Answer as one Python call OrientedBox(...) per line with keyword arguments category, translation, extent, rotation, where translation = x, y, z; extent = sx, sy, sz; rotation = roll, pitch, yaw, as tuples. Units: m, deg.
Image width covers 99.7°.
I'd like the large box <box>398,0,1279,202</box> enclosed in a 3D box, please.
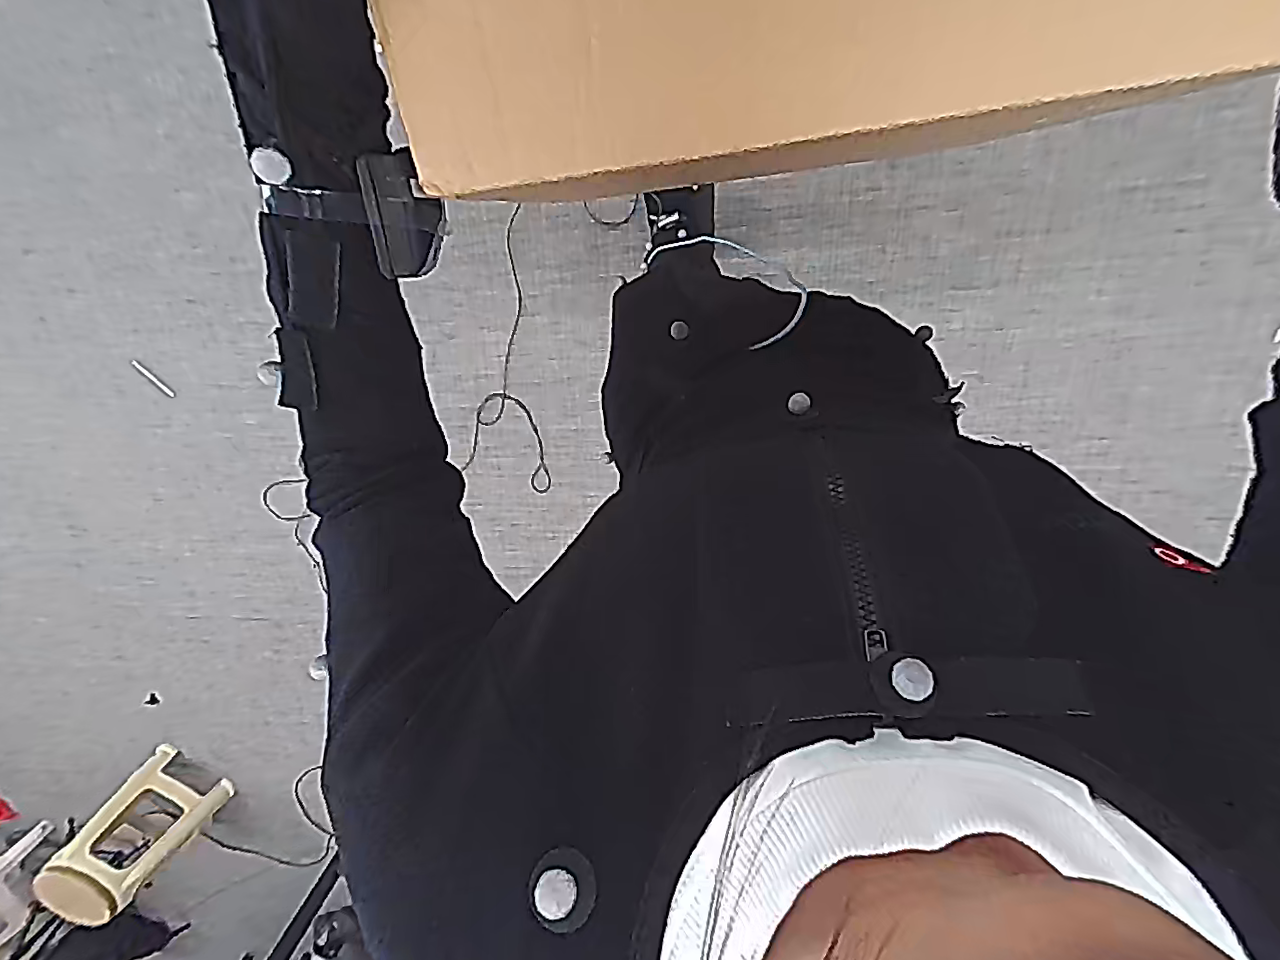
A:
OrientedBox(category="large box", translation=(0.083, -0.371, 0.323), extent=(0.408, 0.320, 0.320), rotation=(-5, 117, 7))
